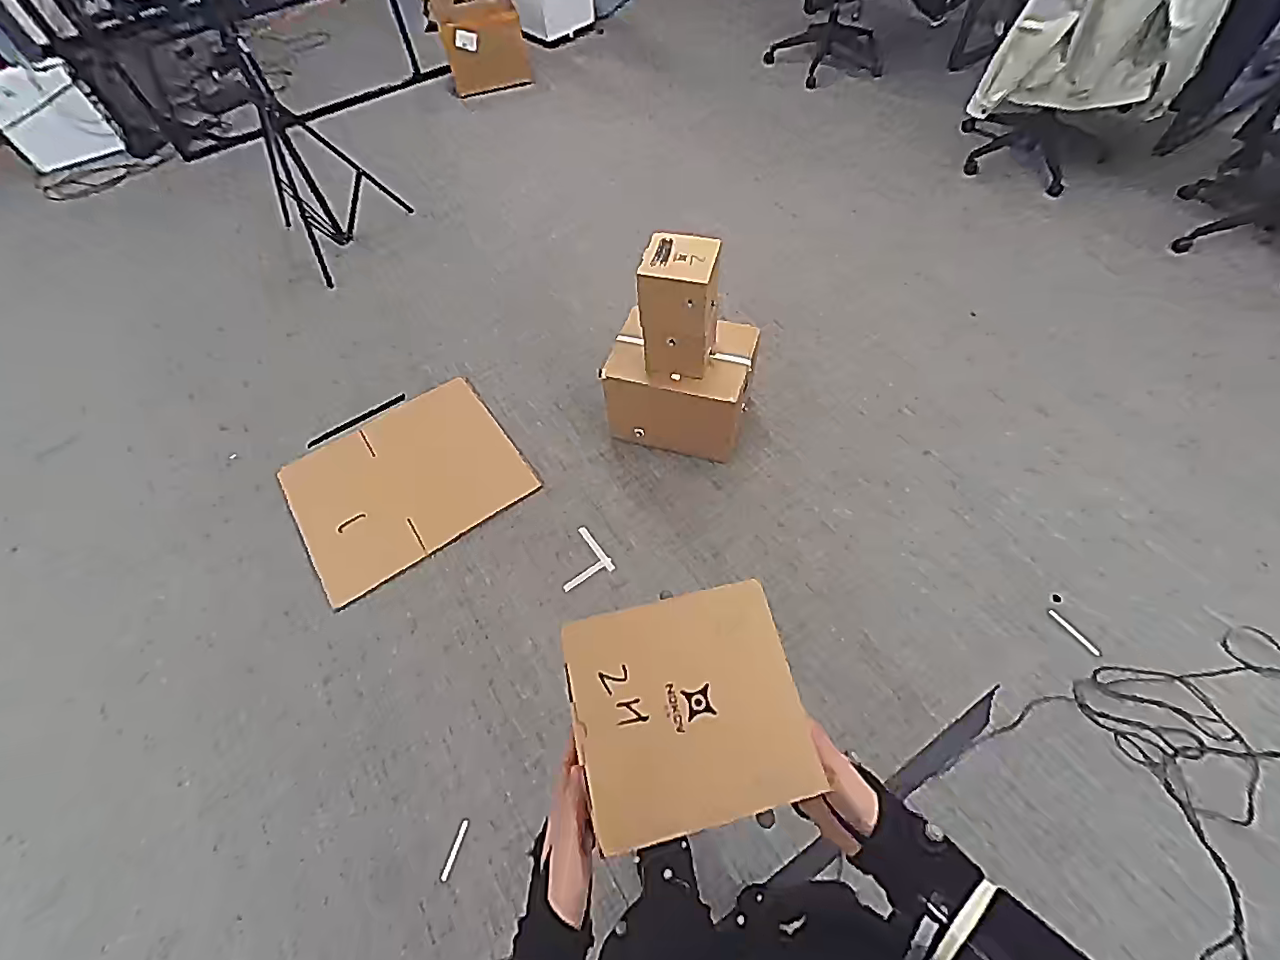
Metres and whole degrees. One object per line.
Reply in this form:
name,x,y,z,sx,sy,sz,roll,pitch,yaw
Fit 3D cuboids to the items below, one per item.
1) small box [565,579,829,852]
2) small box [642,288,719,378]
small box,0.036,0.203,0.488,0.179,0.176,0.168,-11,66,-7
small box,0.115,-0.406,1.514,0.179,0.176,0.168,12,61,10
